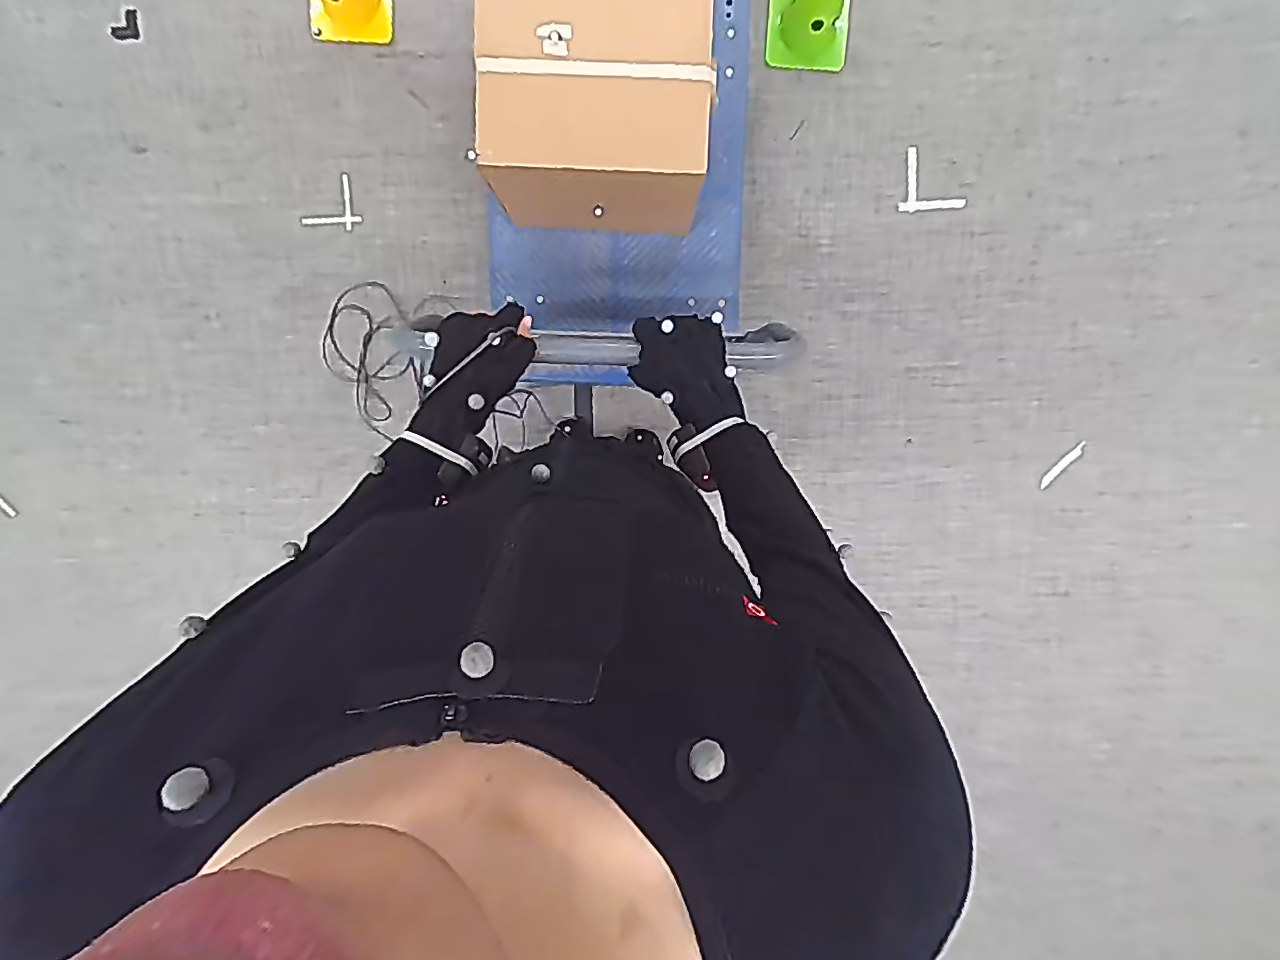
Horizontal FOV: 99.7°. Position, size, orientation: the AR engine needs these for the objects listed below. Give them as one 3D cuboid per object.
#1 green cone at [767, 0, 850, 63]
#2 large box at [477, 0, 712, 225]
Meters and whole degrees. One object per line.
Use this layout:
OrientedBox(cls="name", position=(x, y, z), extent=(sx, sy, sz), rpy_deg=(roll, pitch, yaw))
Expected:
OrientedBox(cls="green cone", position=(0.425, -1.131, 1.174), extent=(0.202, 0.368, 0.200), rpy_deg=(3, 97, -2))
OrientedBox(cls="large box", position=(-0.077, -0.717, 1.071), extent=(0.408, 0.320, 0.320), rpy_deg=(2, 97, 0))
